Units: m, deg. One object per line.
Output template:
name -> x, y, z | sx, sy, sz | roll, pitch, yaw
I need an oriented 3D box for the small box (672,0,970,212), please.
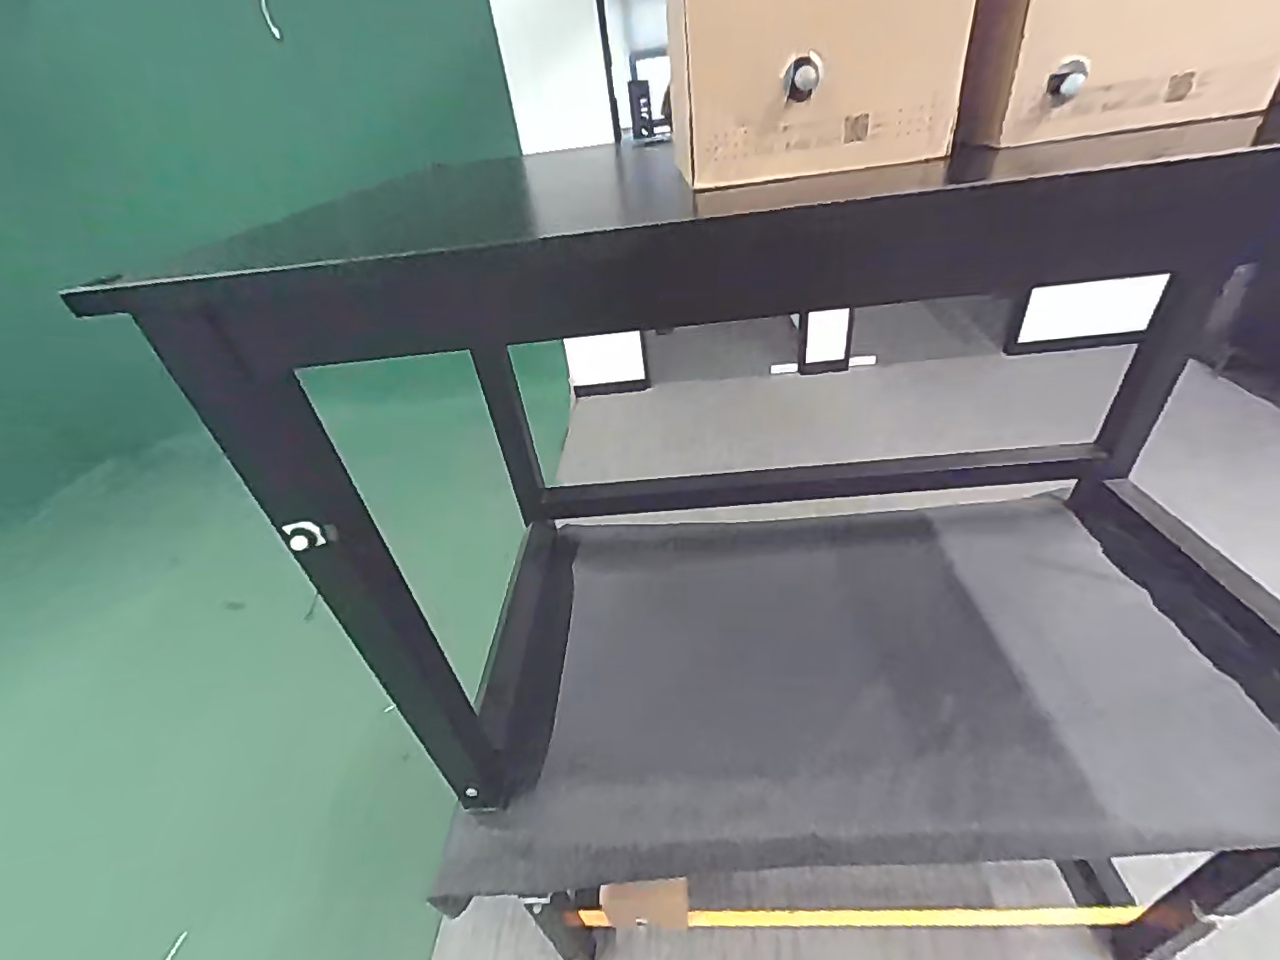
small box -> 0.109, -0.300, 0.387 | 0.168, 0.176, 0.179 | -5, 36, 4

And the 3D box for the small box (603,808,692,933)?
small box -> 0.021, 0.830, 1.151 | 0.168, 0.176, 0.179 | -5, 37, 5
